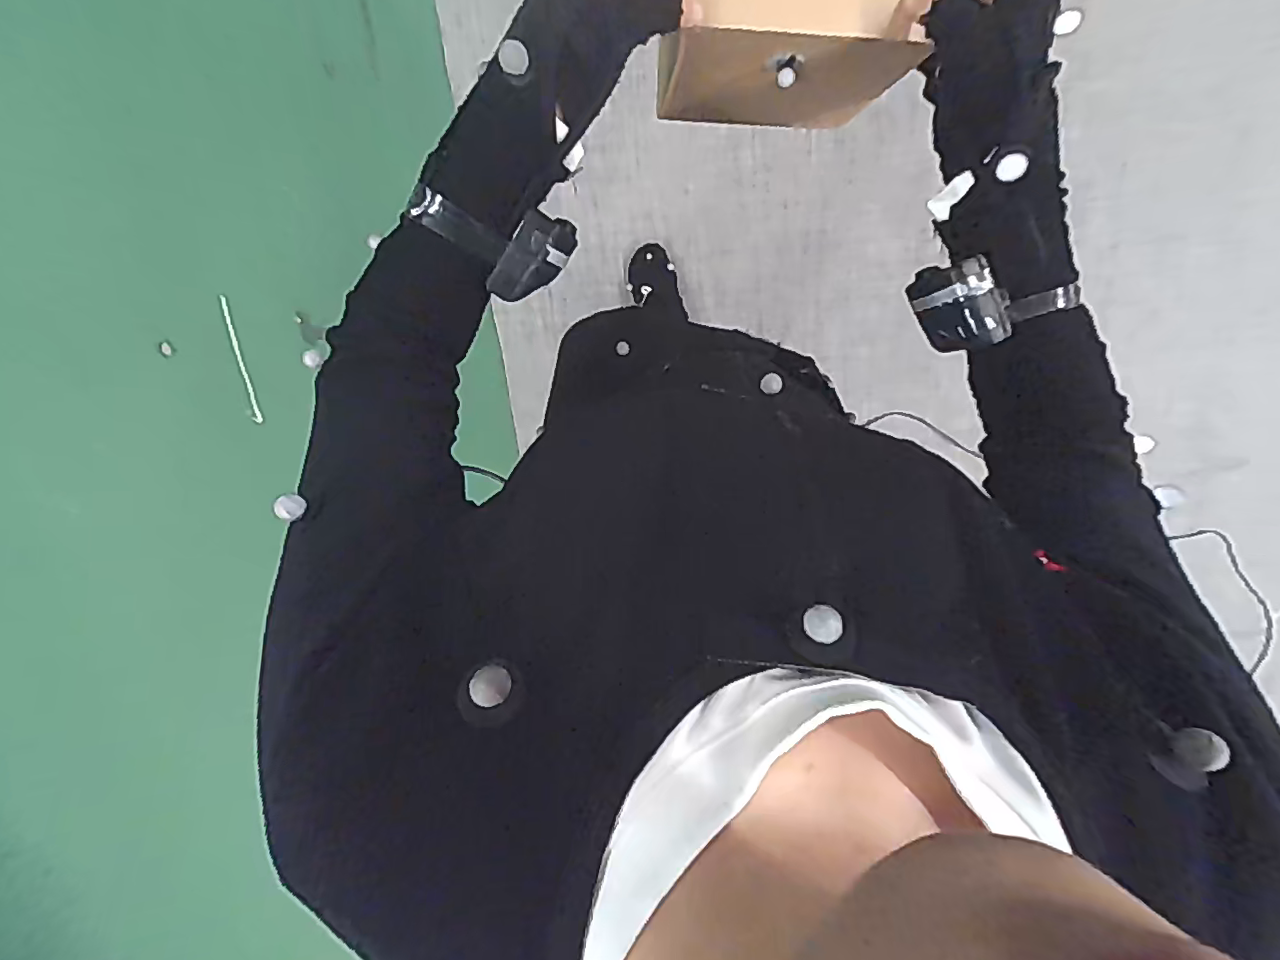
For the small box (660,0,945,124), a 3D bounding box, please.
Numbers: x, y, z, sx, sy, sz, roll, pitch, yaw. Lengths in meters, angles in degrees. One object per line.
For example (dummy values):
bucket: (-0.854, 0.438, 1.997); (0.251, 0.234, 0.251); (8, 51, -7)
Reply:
small box: (0.110, -0.393, 0.410); (0.179, 0.176, 0.168); (0, 106, -5)
